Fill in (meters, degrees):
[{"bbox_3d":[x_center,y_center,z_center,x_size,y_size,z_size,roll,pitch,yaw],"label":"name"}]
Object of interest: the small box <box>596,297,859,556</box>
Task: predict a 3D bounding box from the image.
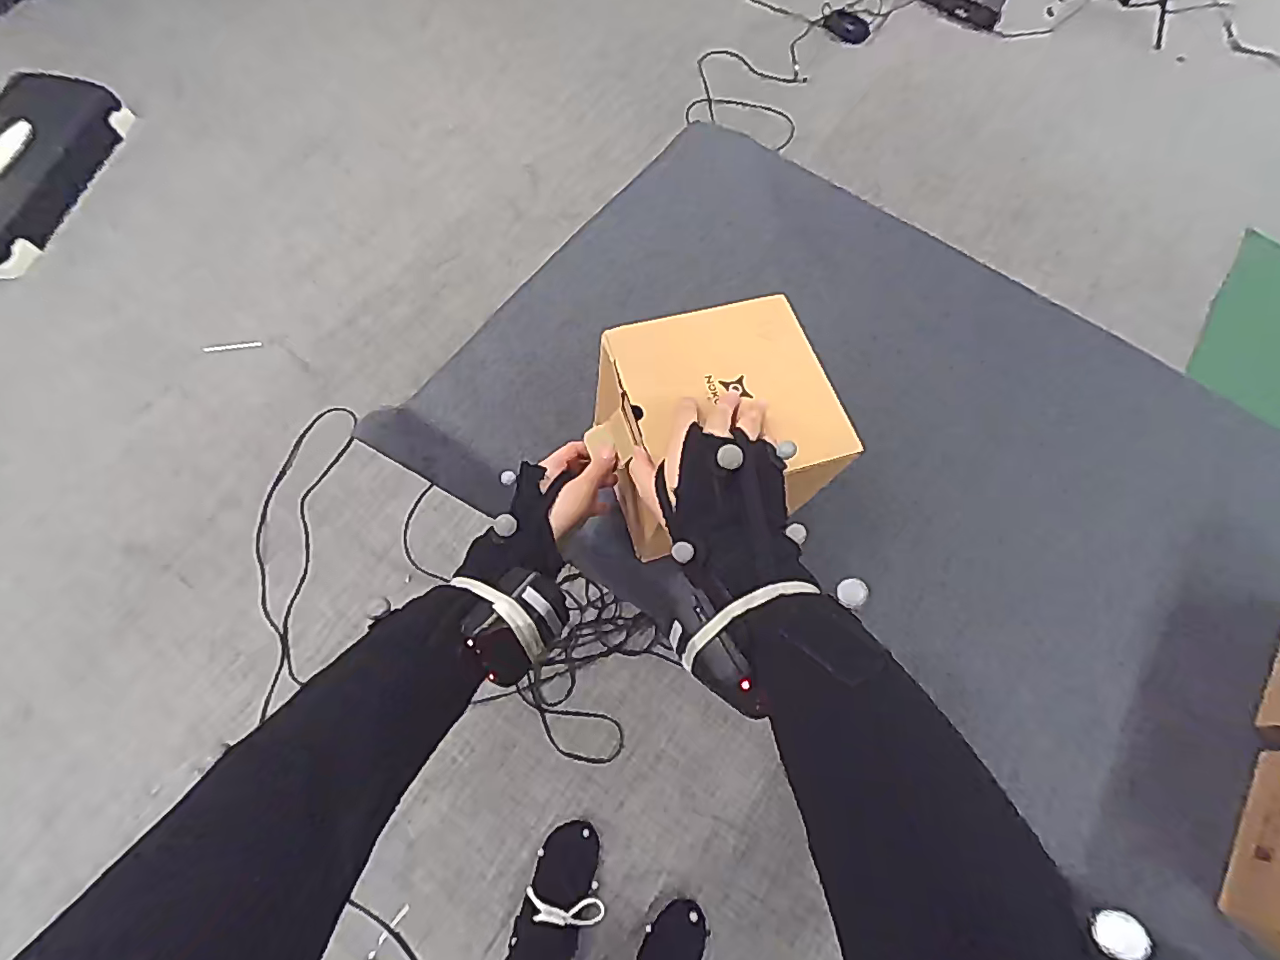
[{"bbox_3d":[0.064,-0.042,0.517,0.179,0.176,0.168,-15,70,-12],"label":"small box"}]
